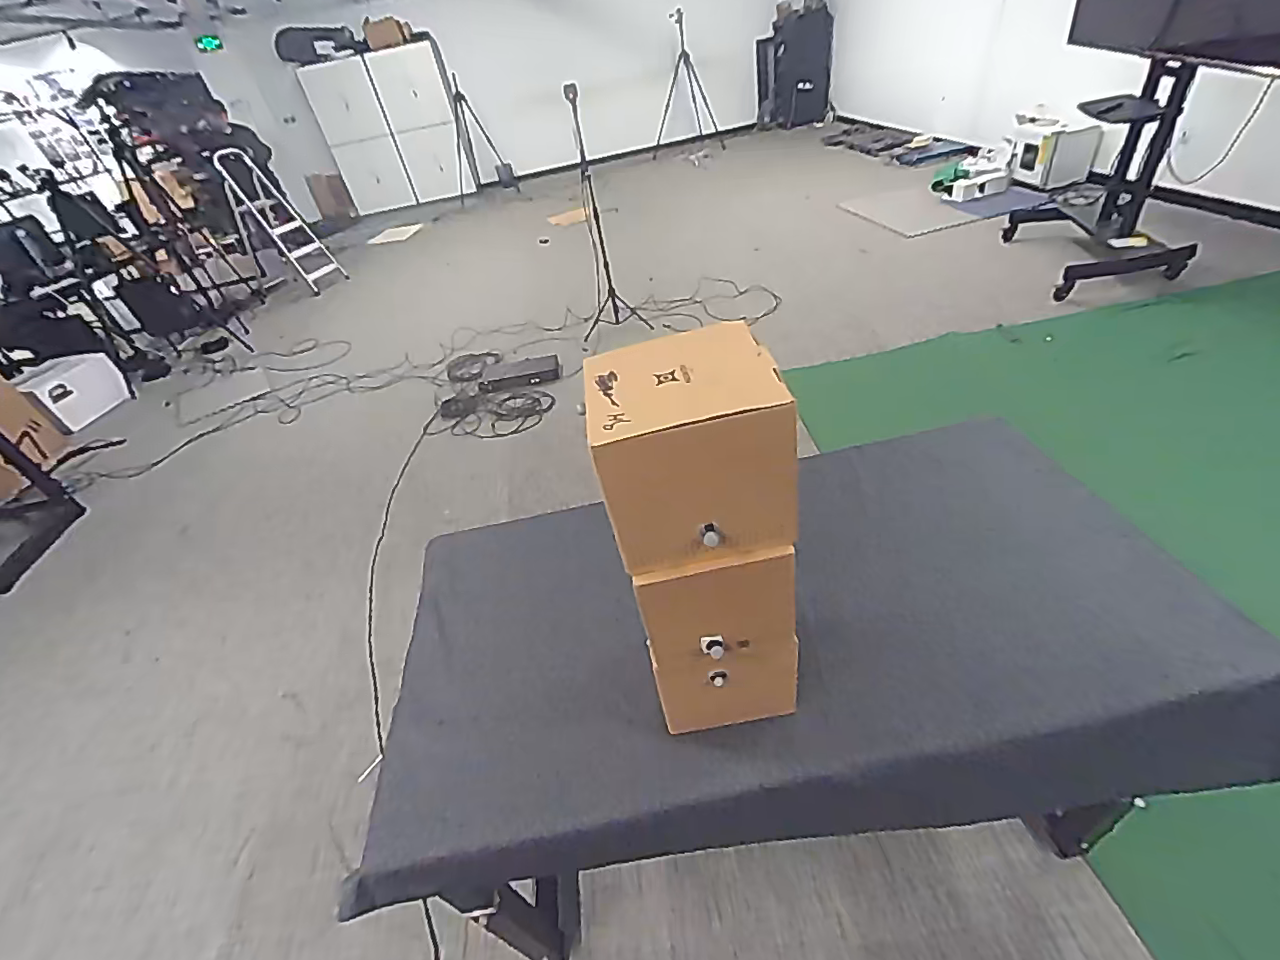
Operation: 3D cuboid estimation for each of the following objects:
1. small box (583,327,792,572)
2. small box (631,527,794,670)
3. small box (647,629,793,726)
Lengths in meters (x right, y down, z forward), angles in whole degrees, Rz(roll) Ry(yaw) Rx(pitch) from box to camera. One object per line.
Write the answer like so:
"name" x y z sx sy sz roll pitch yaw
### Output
"small box" 0.046 -0.030 0.553 0.179 0.176 0.168 -12 38 3
"small box" 0.078 0.097 0.651 0.168 0.176 0.179 -13 39 3
"small box" 0.107 0.219 0.753 0.179 0.176 0.168 -10 39 2
